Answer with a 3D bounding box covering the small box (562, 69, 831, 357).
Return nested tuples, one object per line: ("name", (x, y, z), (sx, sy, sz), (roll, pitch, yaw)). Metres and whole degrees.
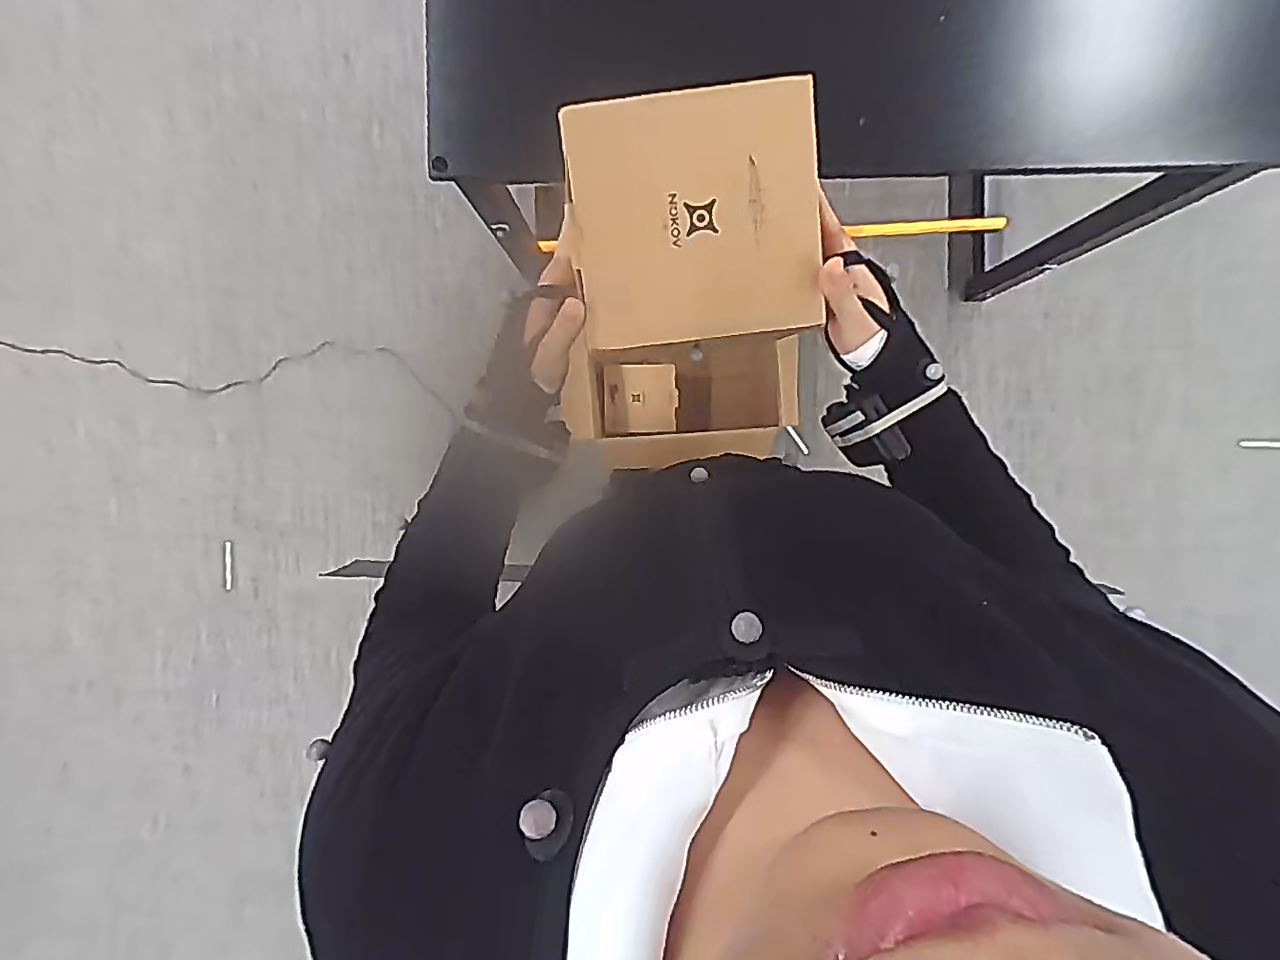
("small box", (0.042, -0.197, 0.452), (0.179, 0.176, 0.168), (-7, 101, 0))
